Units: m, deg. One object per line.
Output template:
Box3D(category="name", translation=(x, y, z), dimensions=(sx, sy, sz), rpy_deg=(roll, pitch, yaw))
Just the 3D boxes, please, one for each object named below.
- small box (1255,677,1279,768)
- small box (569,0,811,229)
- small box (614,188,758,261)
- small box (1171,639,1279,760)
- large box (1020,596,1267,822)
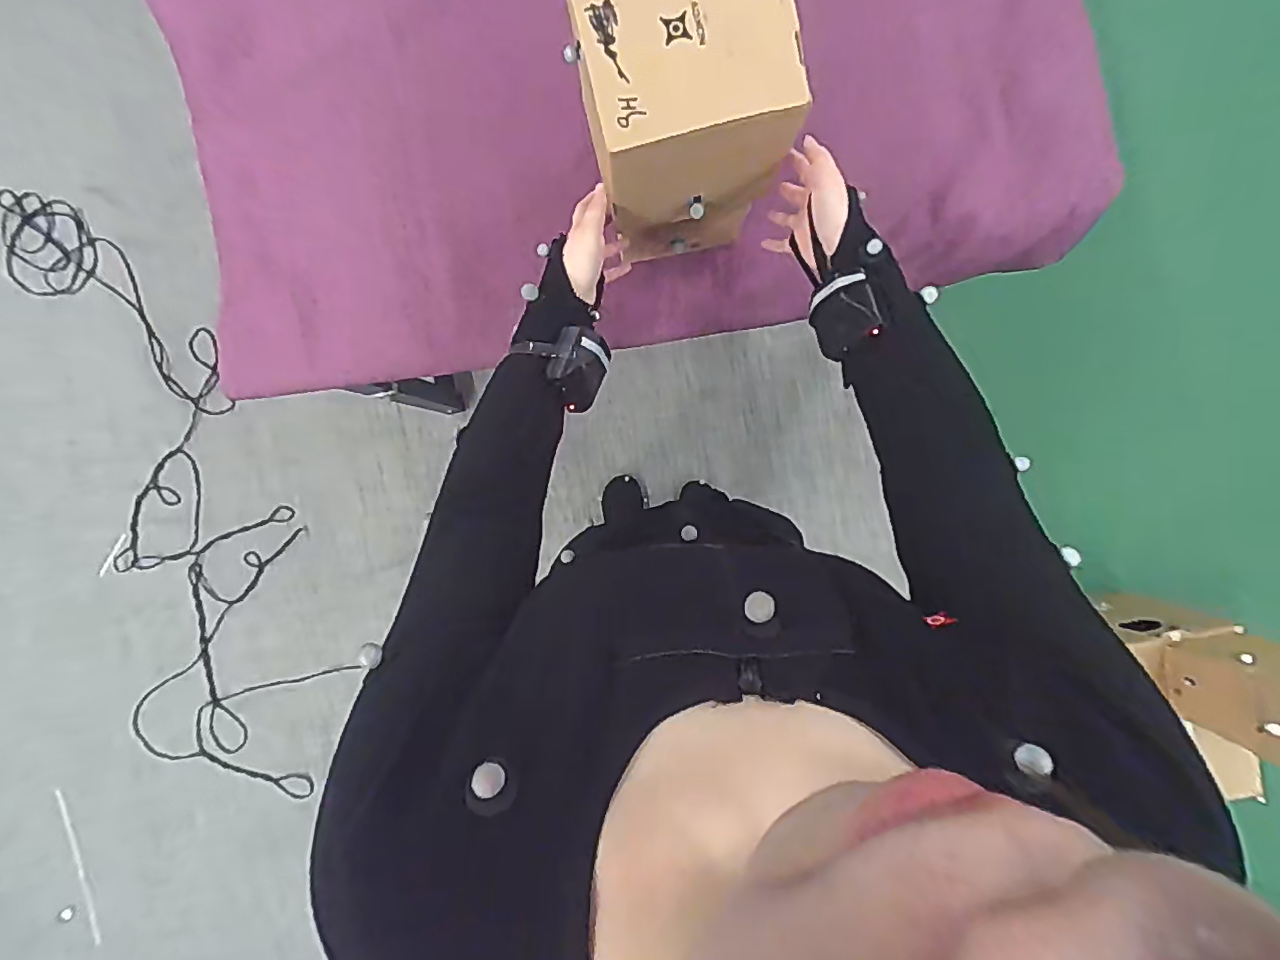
Box3D(category="small box", translation=(1.266, 0.452, 0.952), dimensions=(0.179, 0.176, 0.168), rpy_deg=(-10, 92, 0))
Box3D(category="small box", translation=(0.036, -0.366, 0.510), dimensions=(0.179, 0.176, 0.168), rpy_deg=(-13, 91, 0))
Box3D(category="small box", translation=(0.039, -0.401, 0.674), dimensions=(0.168, 0.176, 0.179), rpy_deg=(-10, 92, 1))
Box3D(category="small box", translation=(1.267, 0.443, 1.116), dimensions=(0.179, 0.176, 0.168), rpy_deg=(-9, 92, 0))
Box3D(category="large box", translation=(1.235, 0.547, 1.362), dimensions=(0.320, 0.320, 0.408), rpy_deg=(-9, 93, 1))
